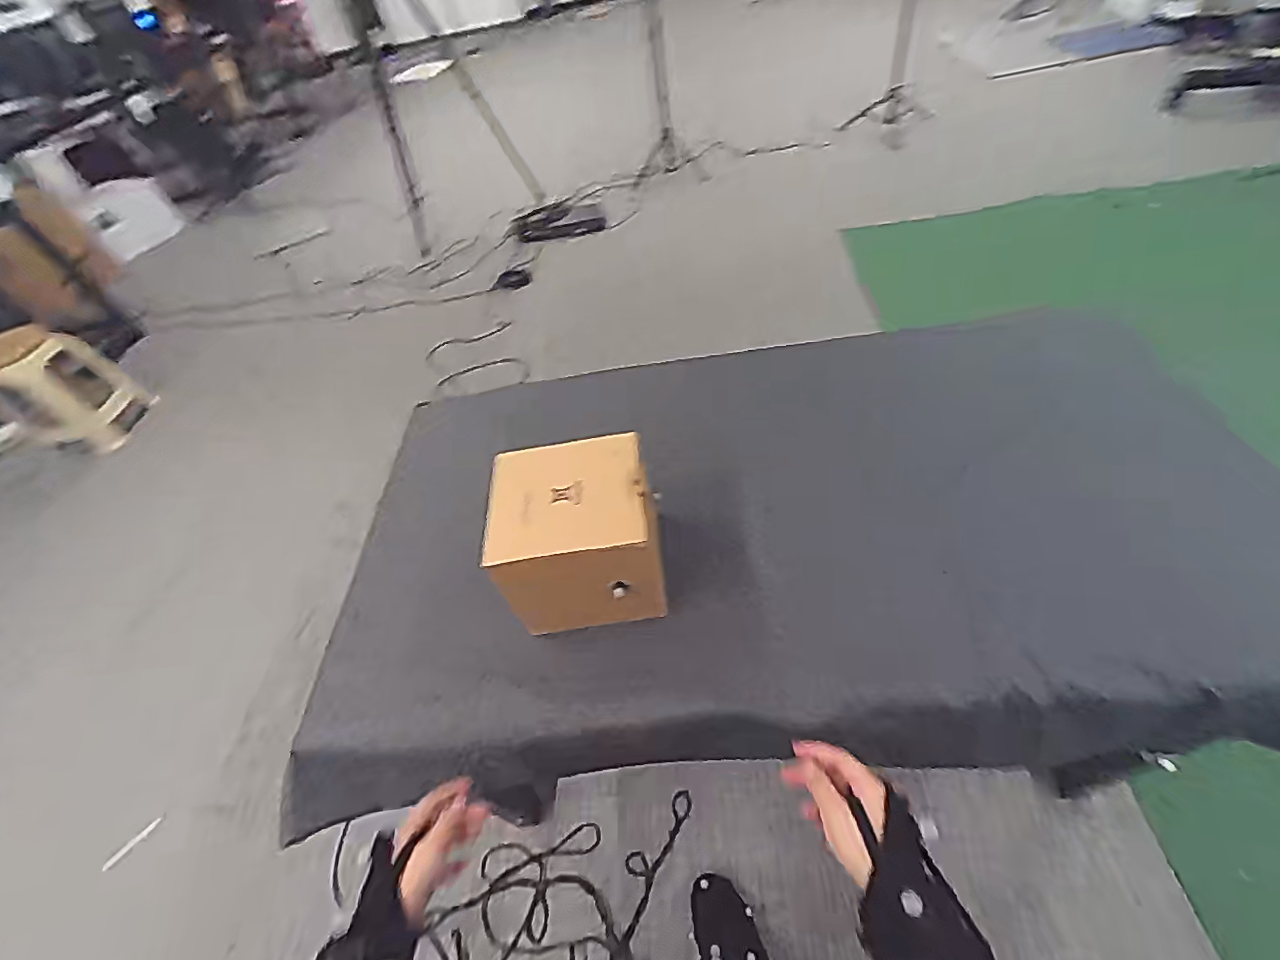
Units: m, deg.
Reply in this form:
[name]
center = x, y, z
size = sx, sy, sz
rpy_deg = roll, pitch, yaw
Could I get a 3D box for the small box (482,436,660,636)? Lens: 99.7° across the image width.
[small box]
center = -0.073, 0.073, 0.668
size = 0.179, 0.176, 0.168
rpy_deg = -11, 47, 4
